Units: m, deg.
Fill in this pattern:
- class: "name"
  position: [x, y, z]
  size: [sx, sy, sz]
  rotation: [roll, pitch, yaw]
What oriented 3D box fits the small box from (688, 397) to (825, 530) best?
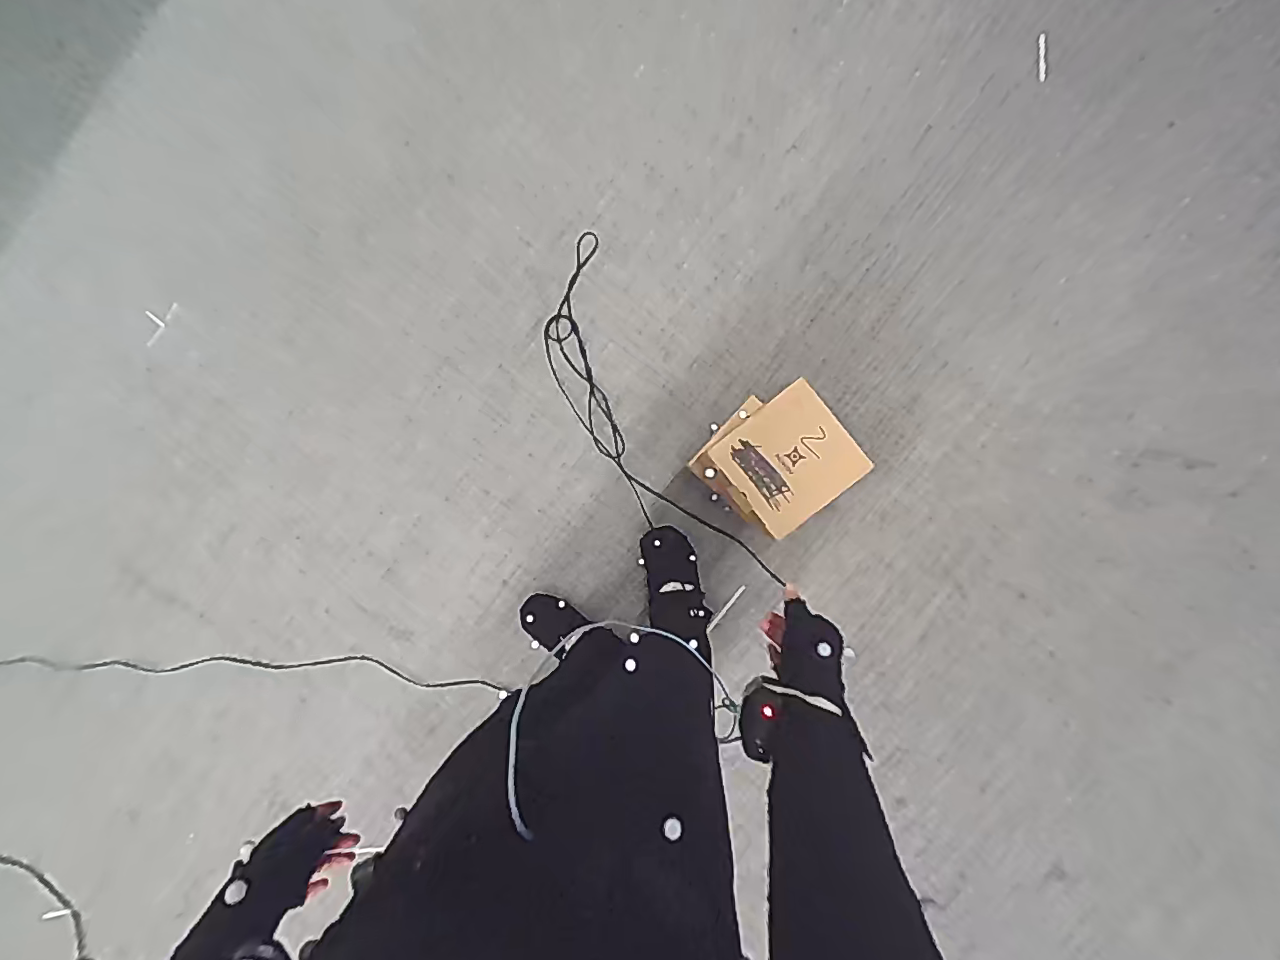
- class: "small box"
  position: [0.203, -0.029, 1.006]
  size: [0.179, 0.176, 0.168]
  rotation: [43, 94, 1]
